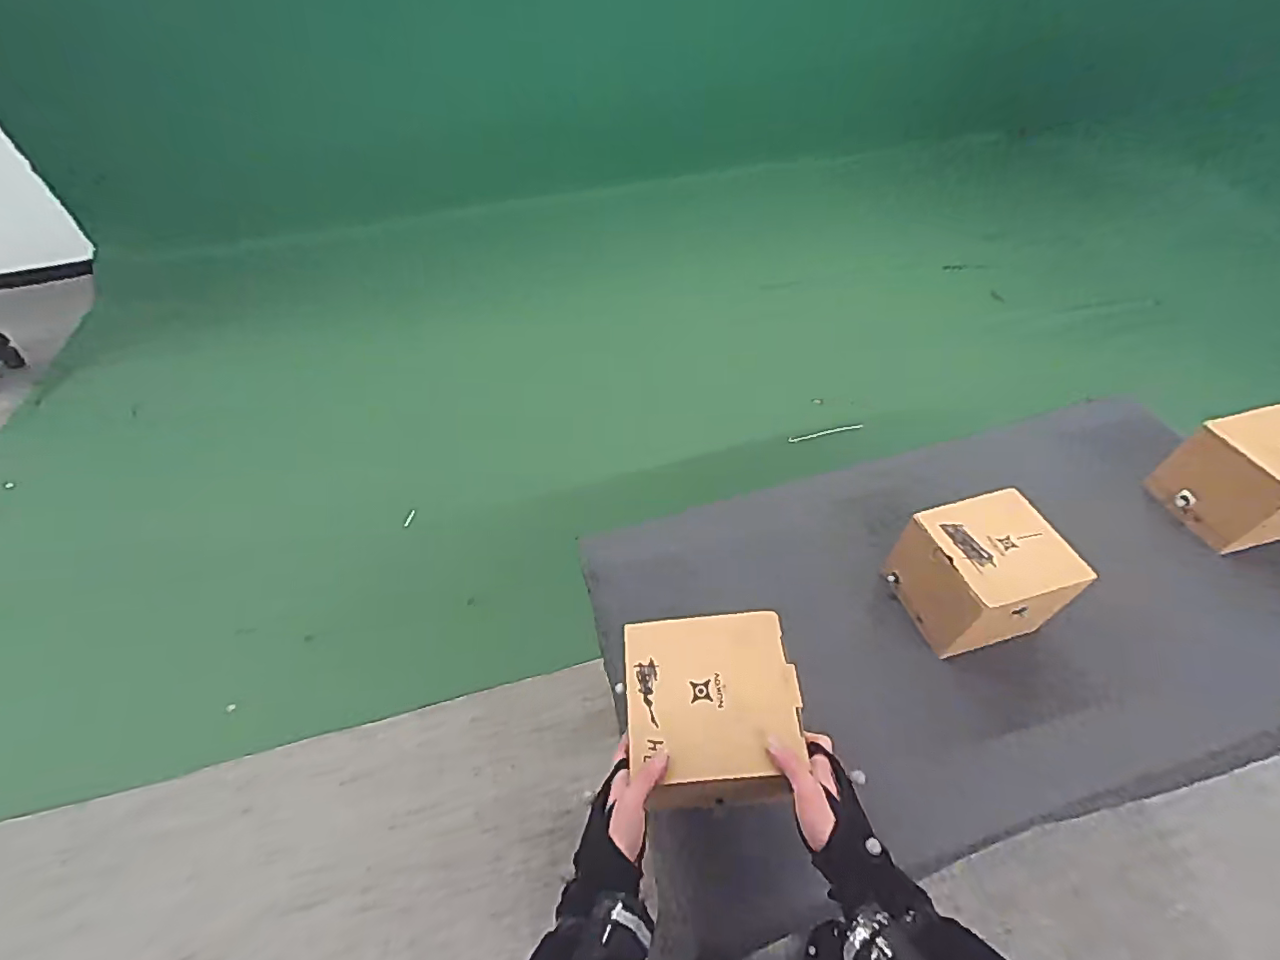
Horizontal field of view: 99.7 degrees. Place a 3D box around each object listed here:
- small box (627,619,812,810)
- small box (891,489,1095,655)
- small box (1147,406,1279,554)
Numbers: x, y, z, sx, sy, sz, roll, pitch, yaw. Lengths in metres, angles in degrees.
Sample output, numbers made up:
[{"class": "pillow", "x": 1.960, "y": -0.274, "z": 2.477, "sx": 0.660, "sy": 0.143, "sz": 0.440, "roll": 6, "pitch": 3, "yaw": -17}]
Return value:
[{"class": "small box", "x": 0.079, "y": 0.271, "z": 0.619, "sx": 0.179, "sy": 0.176, "sz": 0.168, "roll": -4, "pitch": 52, "yaw": 3}, {"class": "small box", "x": 0.509, "y": 0.143, "z": 0.820, "sx": 0.179, "sy": 0.176, "sz": 0.168, "roll": -12, "pitch": 51, "yaw": -9}, {"class": "small box", "x": 1.034, "y": 0.000, "z": 0.909, "sx": 0.179, "sy": 0.176, "sz": 0.168, "roll": -13, "pitch": 50, "yaw": -6}]
